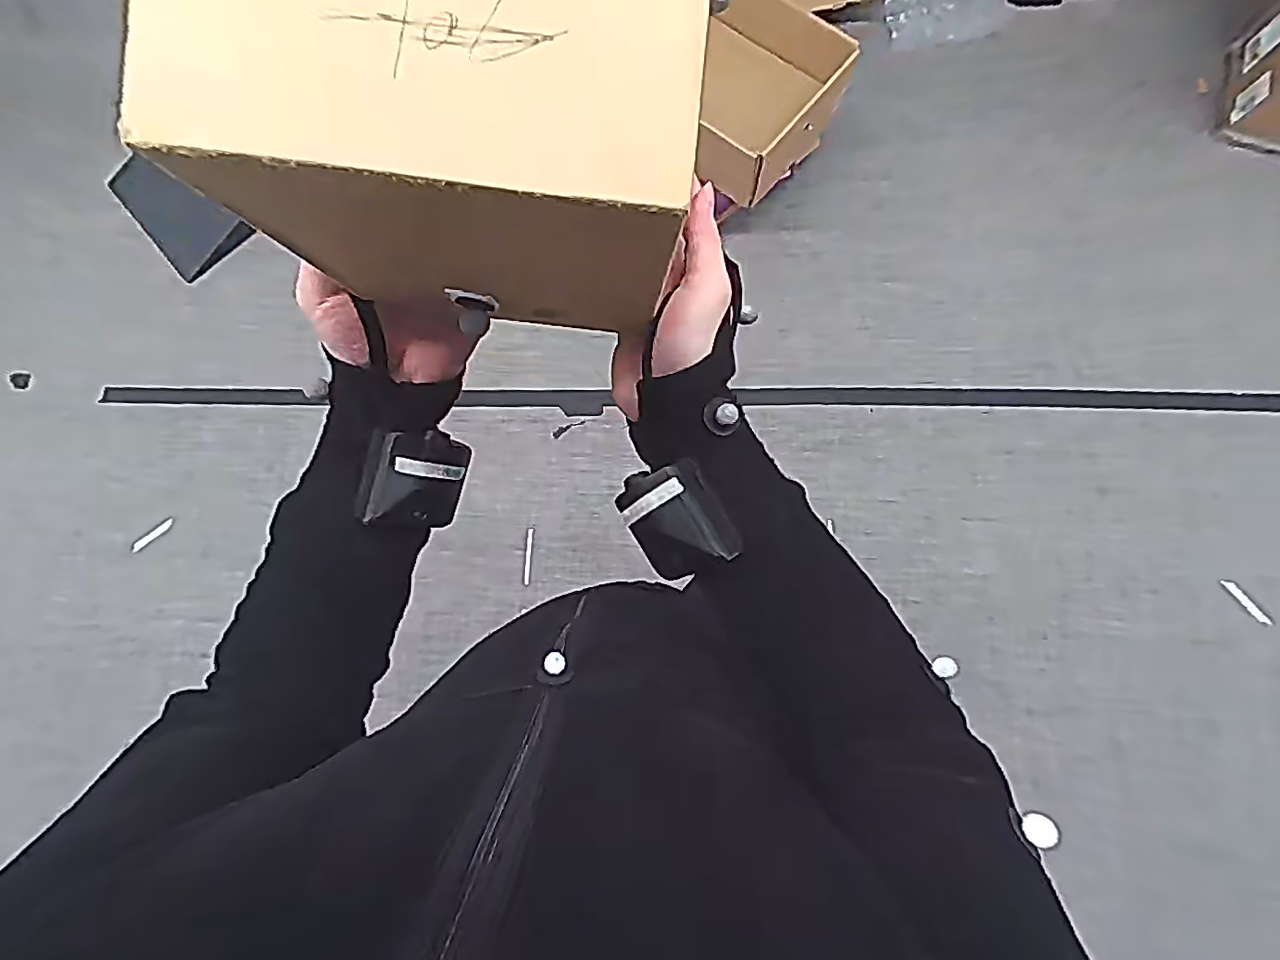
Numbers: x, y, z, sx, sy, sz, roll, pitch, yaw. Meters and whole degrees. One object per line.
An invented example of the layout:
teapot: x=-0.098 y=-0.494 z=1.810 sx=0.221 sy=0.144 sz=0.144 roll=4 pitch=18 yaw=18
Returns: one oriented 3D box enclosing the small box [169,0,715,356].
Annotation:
small box: x=-0.061 y=-0.167 z=0.251 sx=0.168 sy=0.176 sz=0.179 roll=5 pitch=93 yaw=-3
